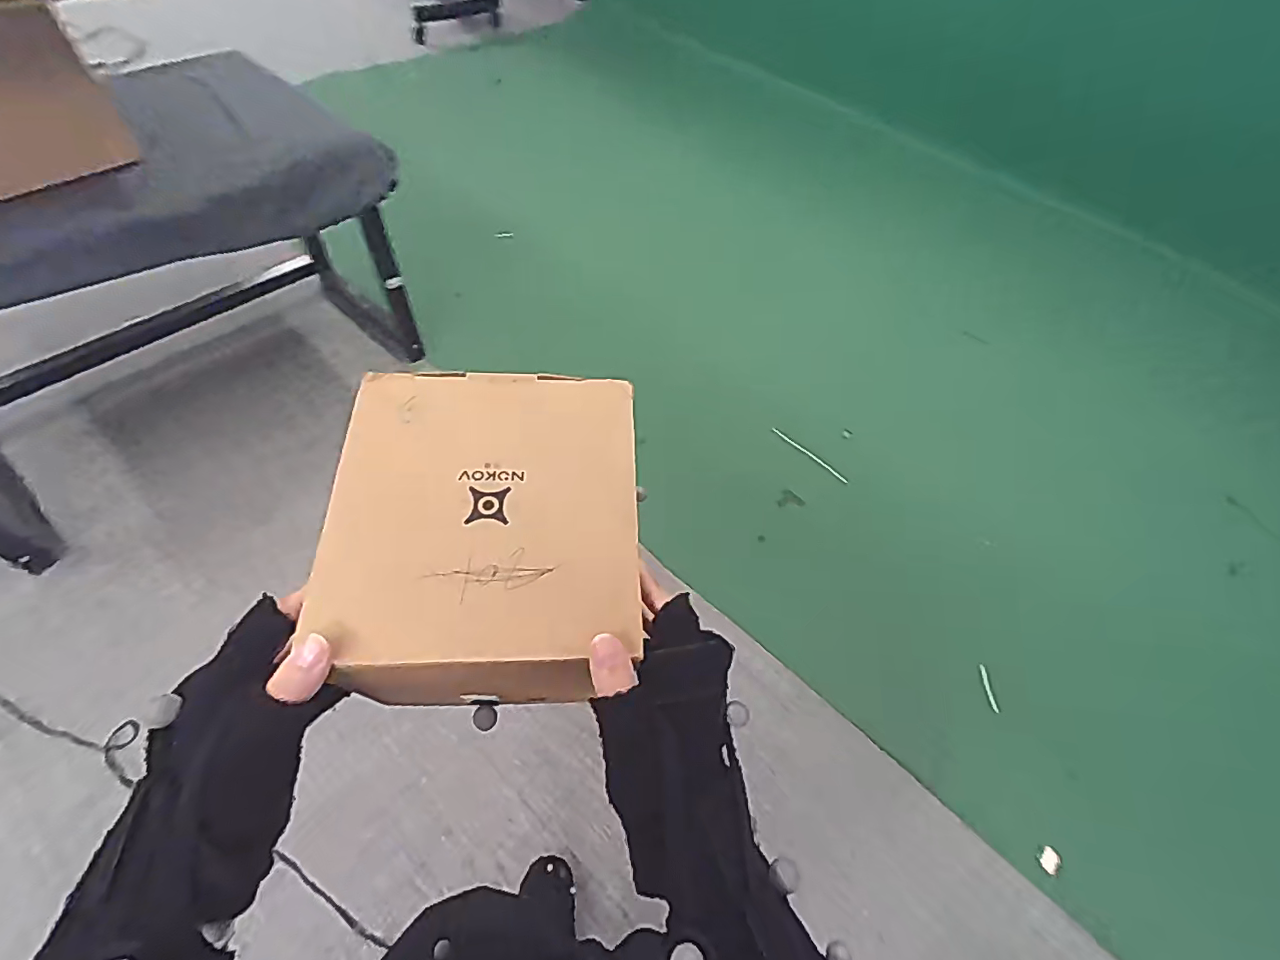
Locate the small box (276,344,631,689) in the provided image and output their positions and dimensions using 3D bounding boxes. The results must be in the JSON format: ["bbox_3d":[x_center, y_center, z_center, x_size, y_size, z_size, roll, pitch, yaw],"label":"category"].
[{"bbox_3d":[-0.097,0.034,0.363,0.168,0.176,0.179,0,61,-6],"label":"small box"}]
